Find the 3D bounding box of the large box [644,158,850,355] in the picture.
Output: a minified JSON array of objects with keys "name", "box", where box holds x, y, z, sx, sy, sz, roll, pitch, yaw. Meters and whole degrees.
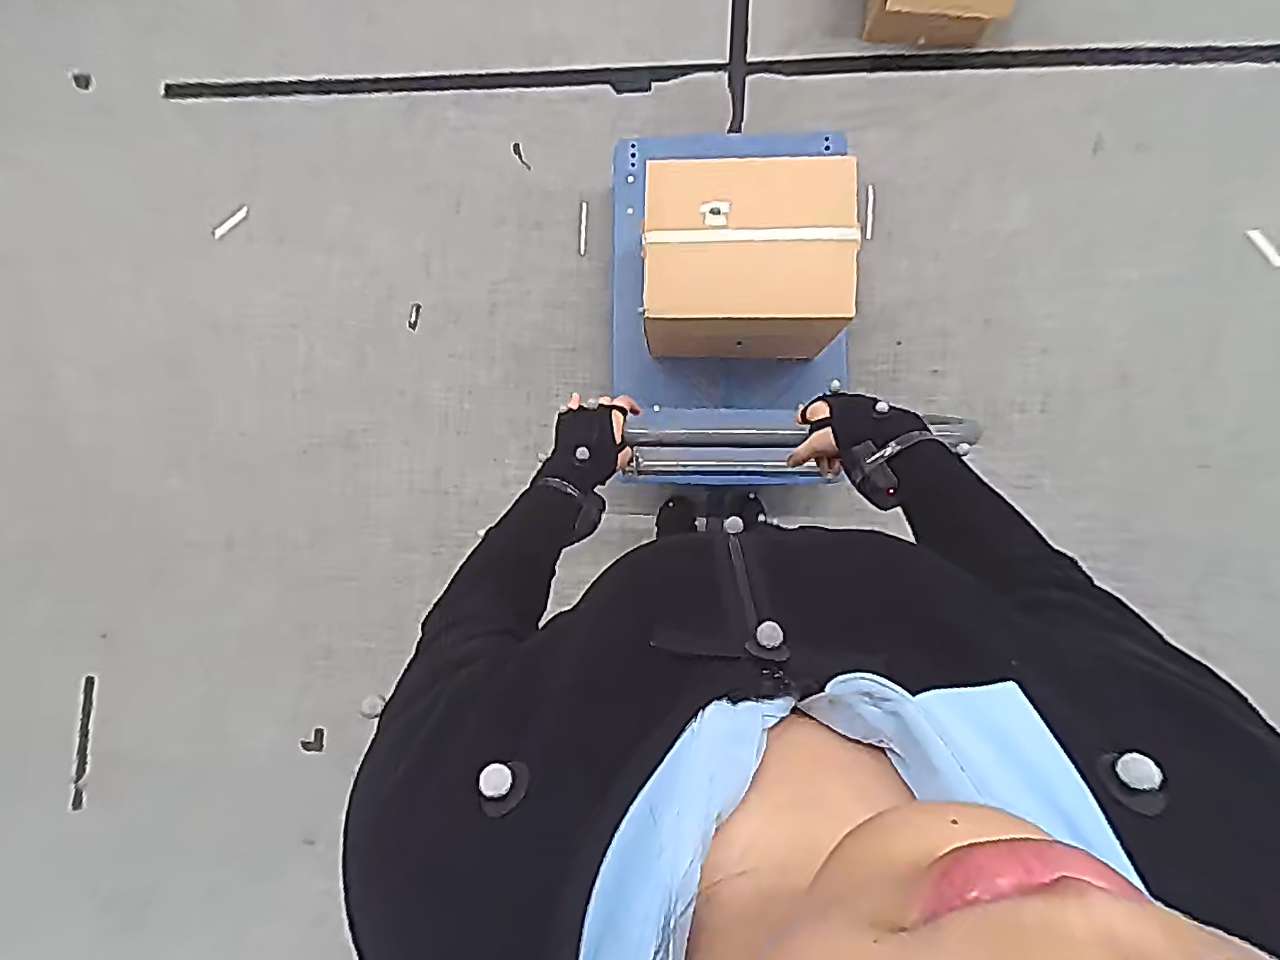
[{"name":"large box","box":[0.222,-0.467,1.207,0.408,0.320,0.320,1,88,5]}]
